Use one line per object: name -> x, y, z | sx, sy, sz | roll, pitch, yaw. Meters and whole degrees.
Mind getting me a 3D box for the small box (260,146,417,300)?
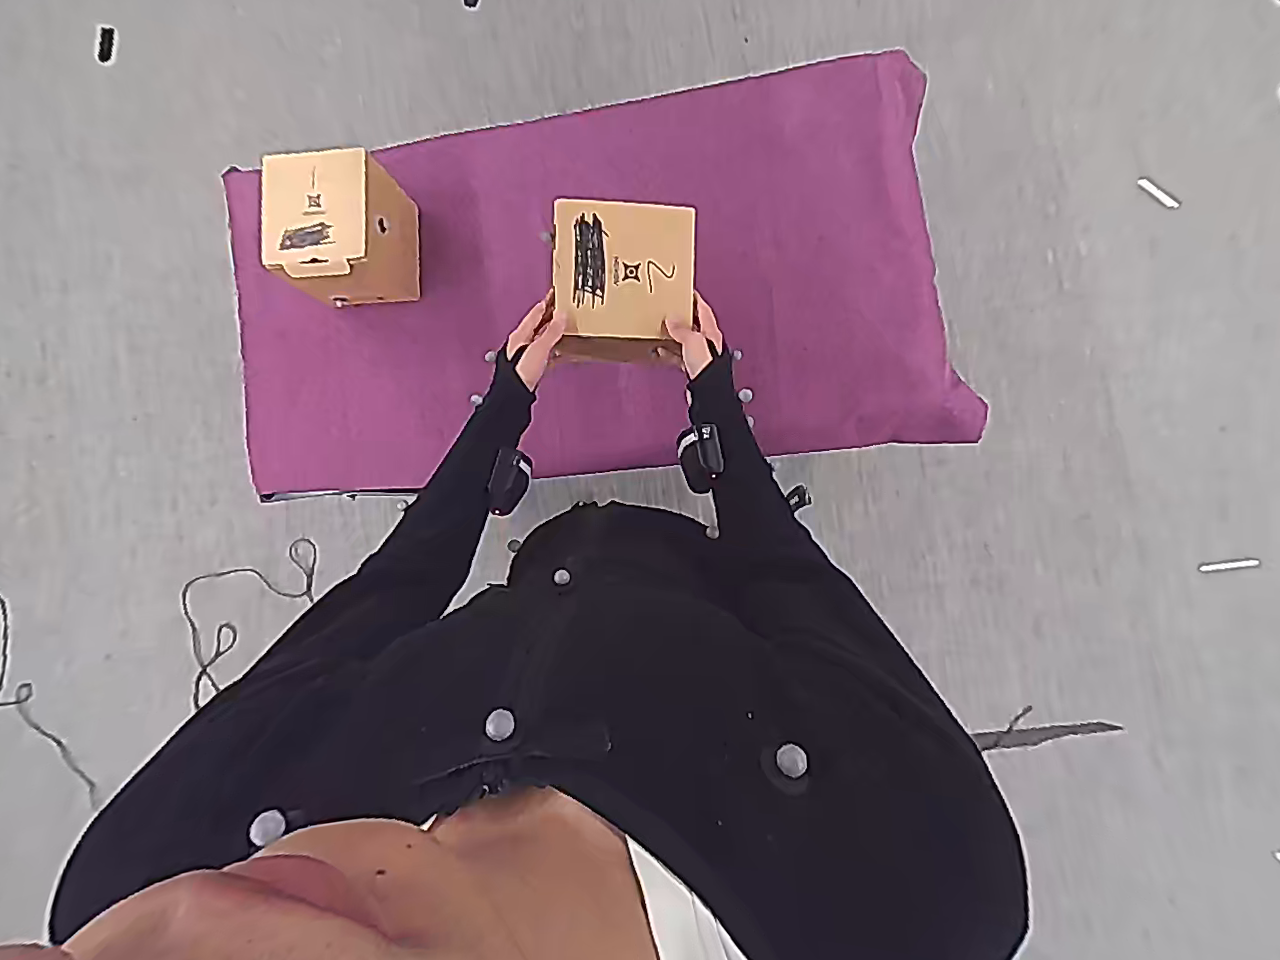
small box -> -0.482, -0.407, 0.888 | 0.168, 0.176, 0.179 | -2, 88, 4
